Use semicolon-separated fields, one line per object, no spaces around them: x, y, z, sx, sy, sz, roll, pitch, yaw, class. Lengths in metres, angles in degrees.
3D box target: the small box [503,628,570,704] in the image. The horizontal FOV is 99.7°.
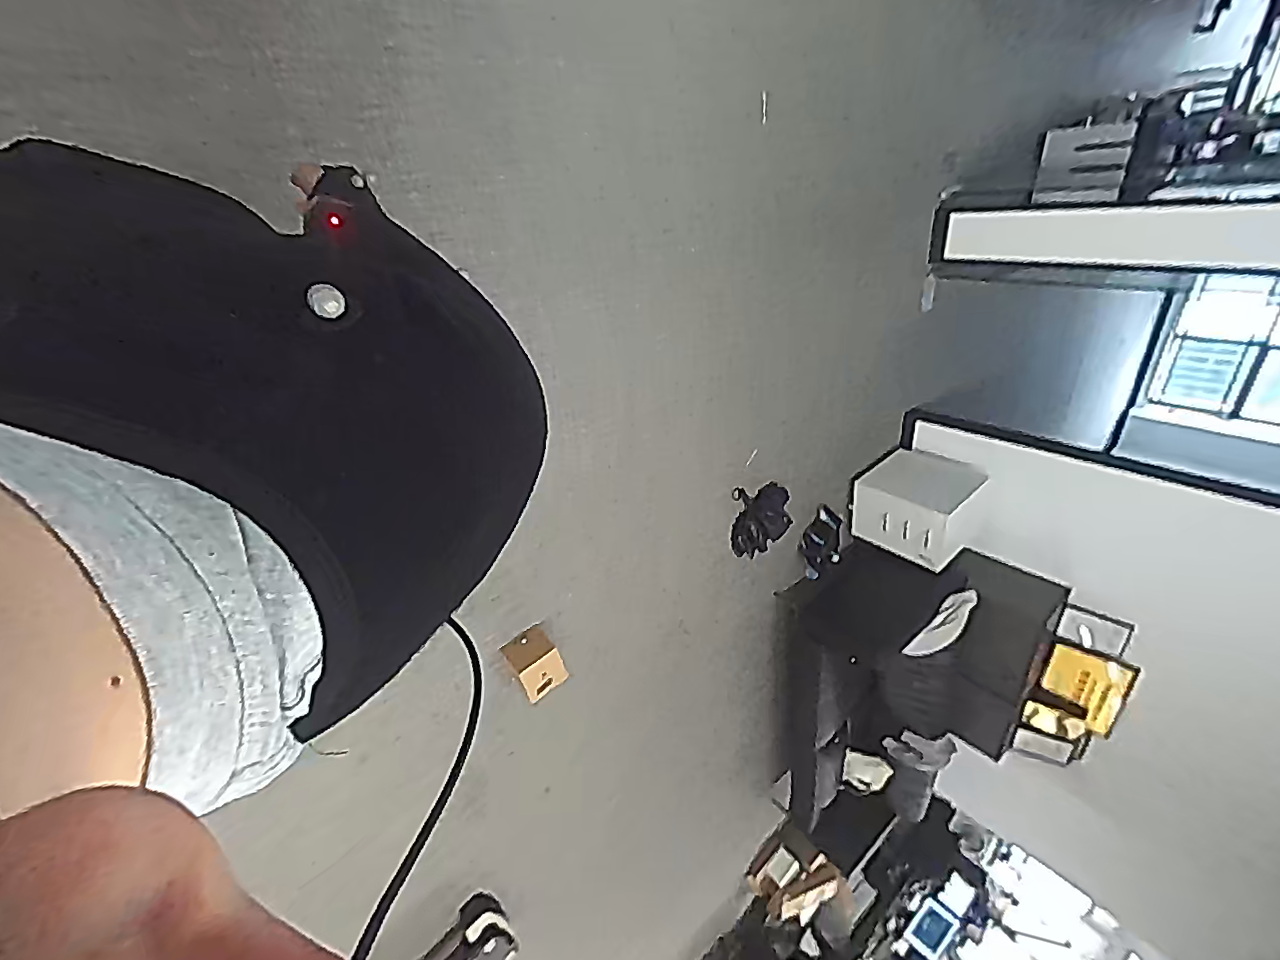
-0.392;0.699;2.045;0.168;0.176;0.179;-31;126;-28;small box
